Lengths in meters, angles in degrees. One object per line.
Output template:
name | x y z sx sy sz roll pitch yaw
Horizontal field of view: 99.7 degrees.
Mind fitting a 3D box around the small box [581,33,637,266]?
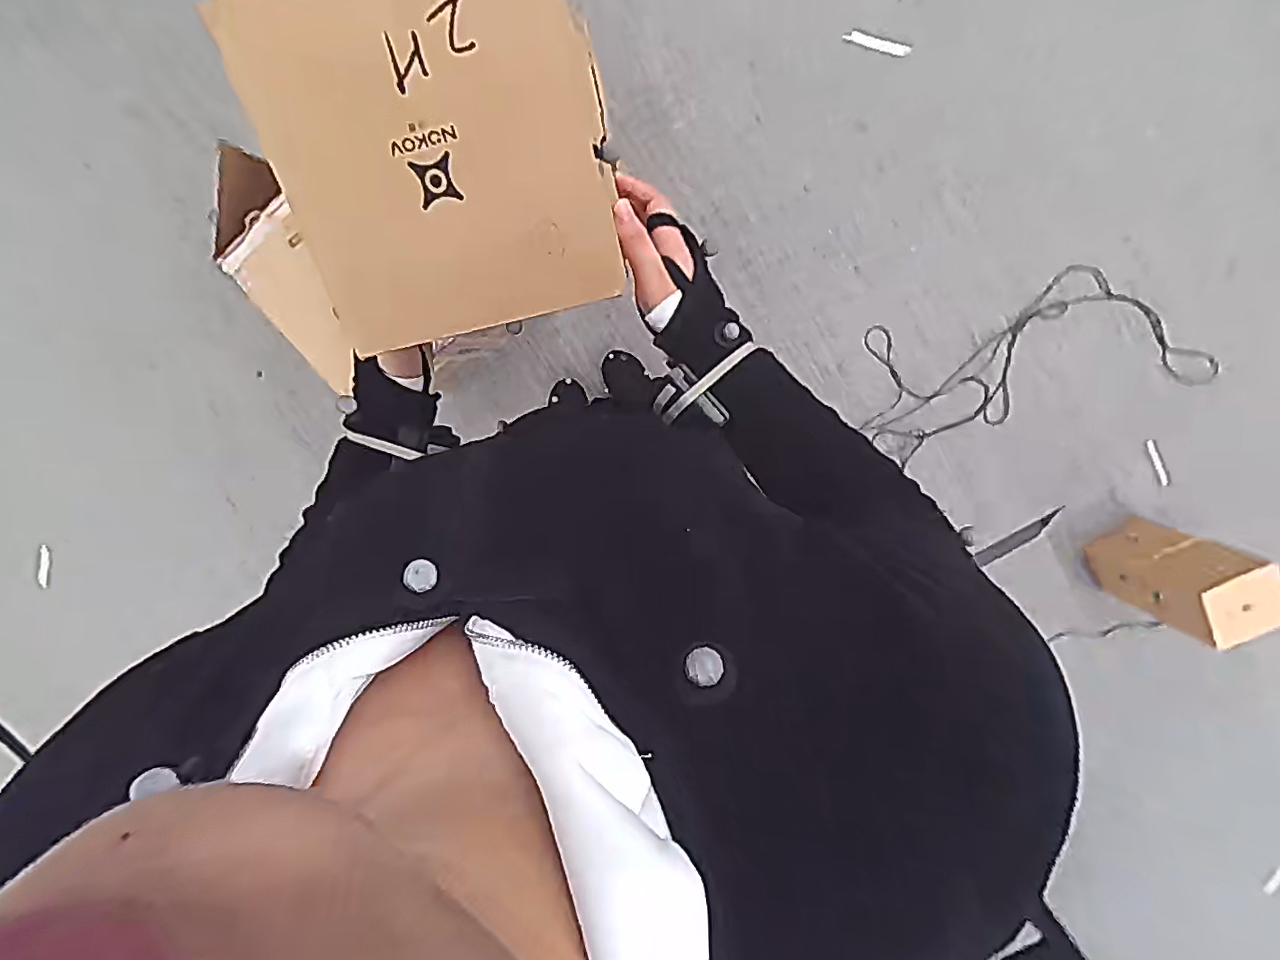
small box | -0.103 -0.276 0.508 0.179 0.176 0.168 -10 113 5

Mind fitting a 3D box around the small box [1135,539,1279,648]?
small box | 1.384 0.269 1.322 0.179 0.176 0.168 -27 101 7

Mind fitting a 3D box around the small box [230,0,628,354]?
small box | -0.103 -0.199 0.361 0.168 0.176 0.179 -11 113 4

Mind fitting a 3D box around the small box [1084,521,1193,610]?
small box | 1.379 0.230 1.481 0.168 0.176 0.179 -32 100 7
